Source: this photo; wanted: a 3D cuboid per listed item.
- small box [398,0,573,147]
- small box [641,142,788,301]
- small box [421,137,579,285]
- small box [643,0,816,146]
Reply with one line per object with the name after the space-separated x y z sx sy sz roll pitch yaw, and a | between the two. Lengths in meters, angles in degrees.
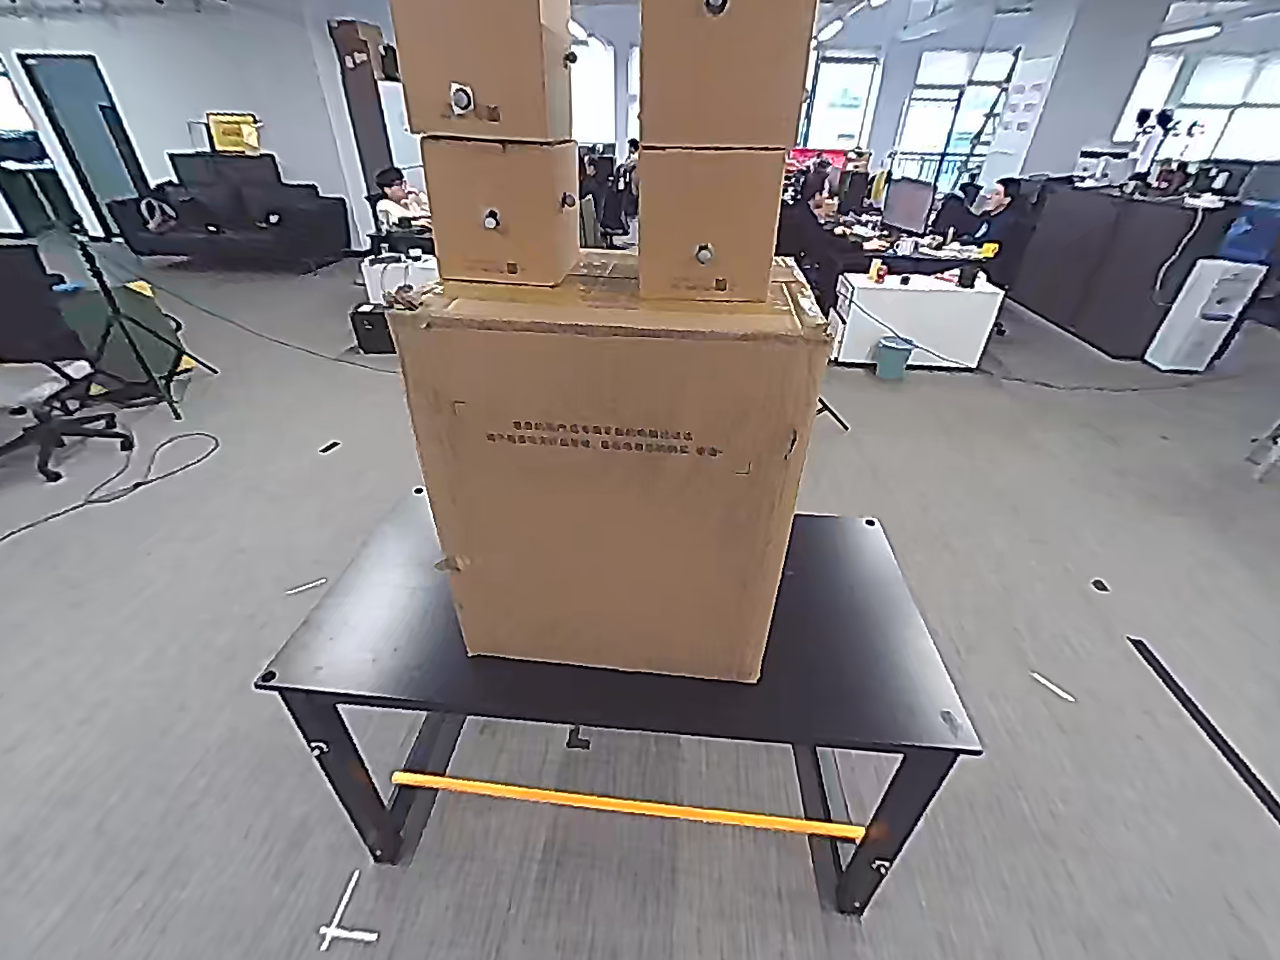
-0.176 -0.509 0.655 0.168 0.176 0.179 3 34 2 | small box
0.090 -0.345 0.712 0.168 0.176 0.179 3 34 5 | small box
-0.179 -0.380 0.757 0.168 0.176 0.179 5 34 2 | small box
0.095 -0.479 0.616 0.179 0.176 0.168 3 34 4 | small box
